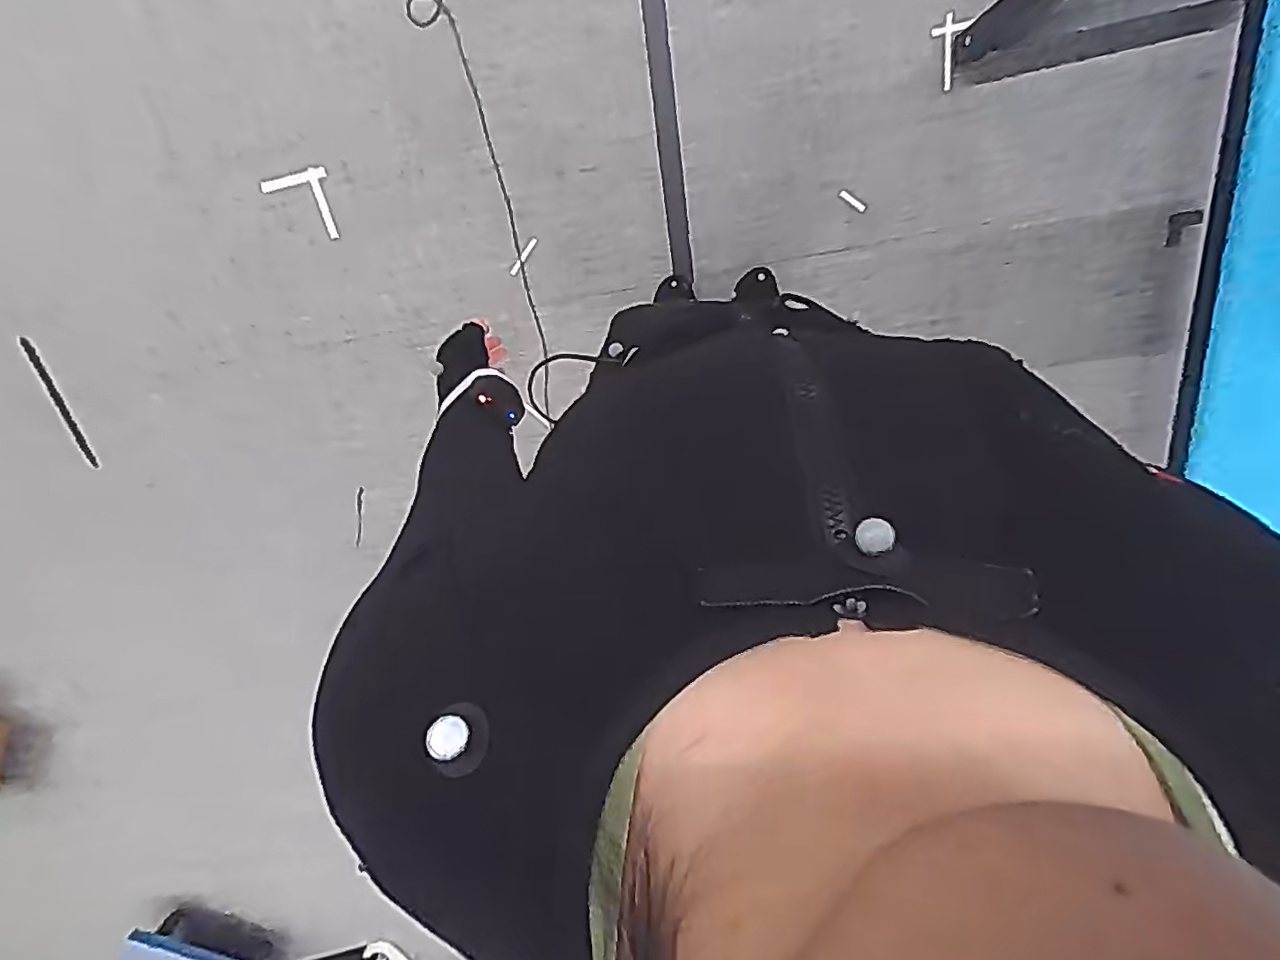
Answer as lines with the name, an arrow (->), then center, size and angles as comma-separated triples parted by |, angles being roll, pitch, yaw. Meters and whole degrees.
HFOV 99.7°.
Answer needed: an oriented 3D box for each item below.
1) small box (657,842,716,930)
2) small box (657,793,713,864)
small box -> 0.155, 1.348, 1.802 | 0.179, 0.176, 0.168 | 7, 112, 4
small box -> 0.163, 1.262, 1.945 | 0.179, 0.176, 0.168 | 9, 113, 3
